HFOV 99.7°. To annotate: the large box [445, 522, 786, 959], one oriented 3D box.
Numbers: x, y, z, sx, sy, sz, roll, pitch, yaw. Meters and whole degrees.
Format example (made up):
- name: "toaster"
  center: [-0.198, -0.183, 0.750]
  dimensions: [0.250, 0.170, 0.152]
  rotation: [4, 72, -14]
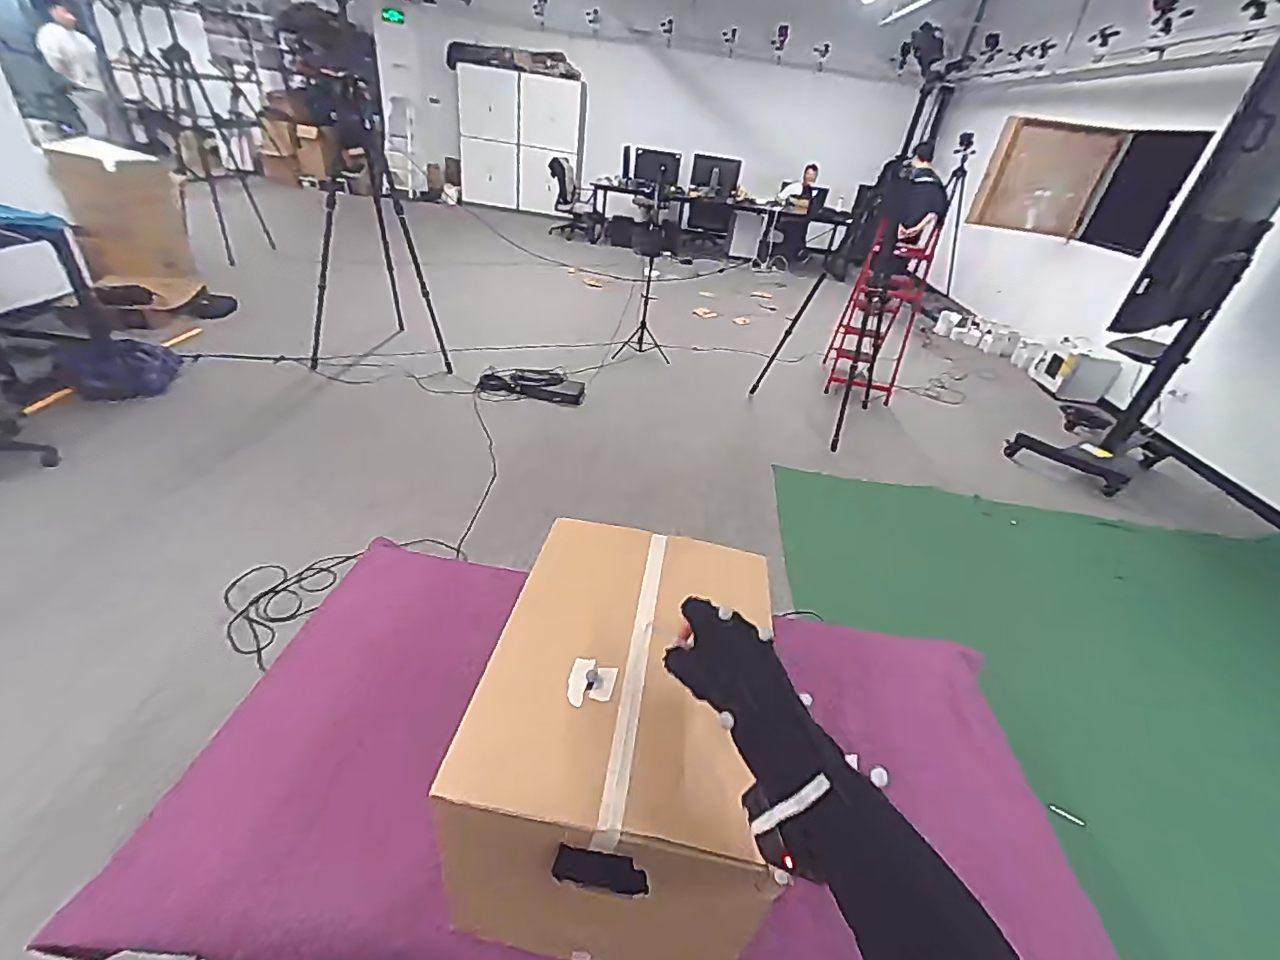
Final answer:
- name: "large box"
  center: [-0.020, 0.319, 0.713]
  dimensions: [0.320, 0.320, 0.408]
  rotation: [11, 34, 3]
